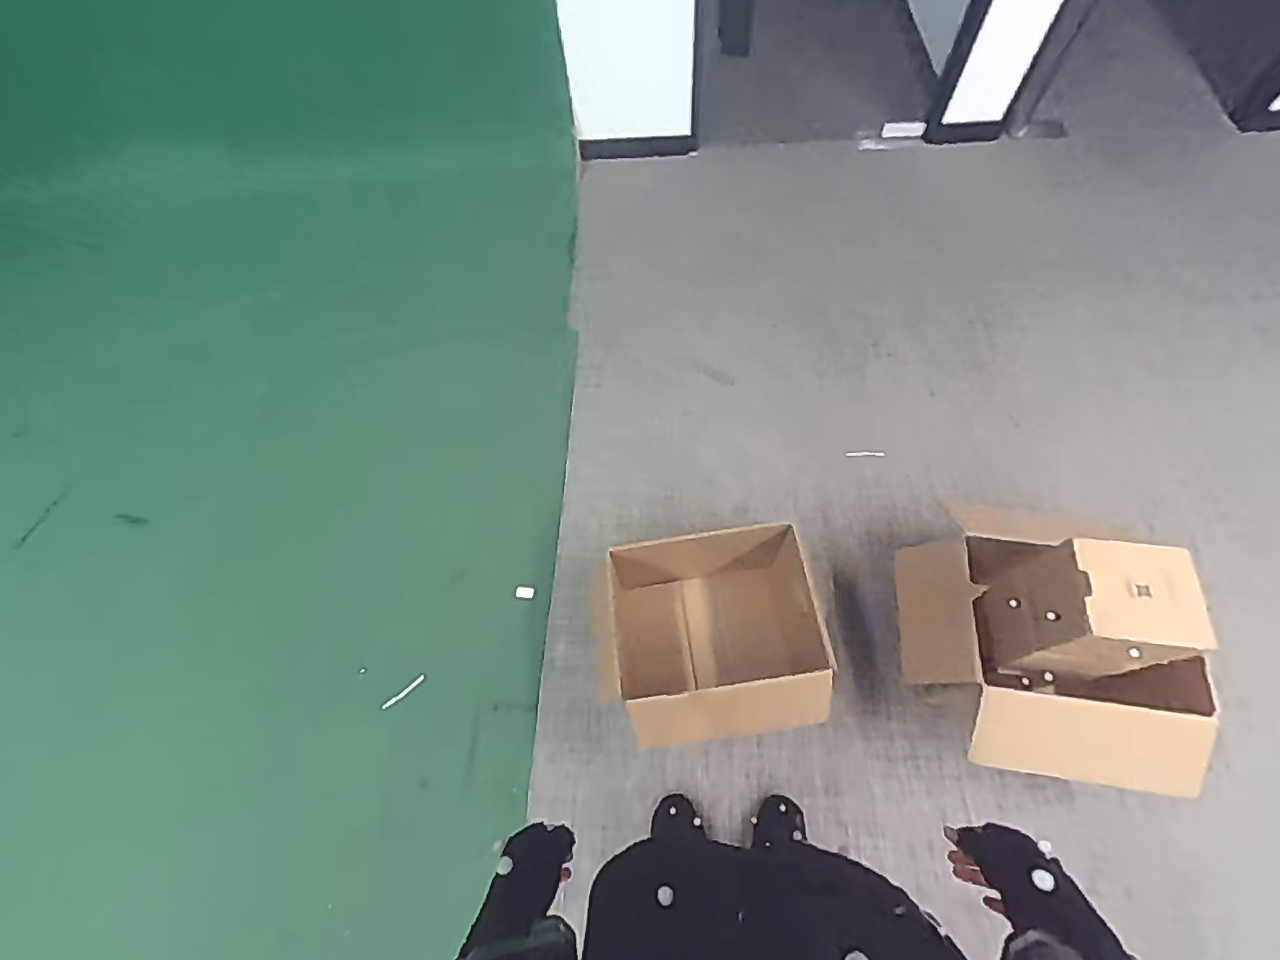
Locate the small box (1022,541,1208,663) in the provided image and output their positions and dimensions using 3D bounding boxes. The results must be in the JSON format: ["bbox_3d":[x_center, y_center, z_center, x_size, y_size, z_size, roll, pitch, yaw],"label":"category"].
[{"bbox_3d":[0.805,0.217,0.946,0.179,0.176,0.168,5,64,8],"label":"small box"}]

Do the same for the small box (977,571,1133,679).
[{"bbox_3d":[0.818,0.297,1.087,0.179,0.176,0.168,5,62,8],"label":"small box"}]
